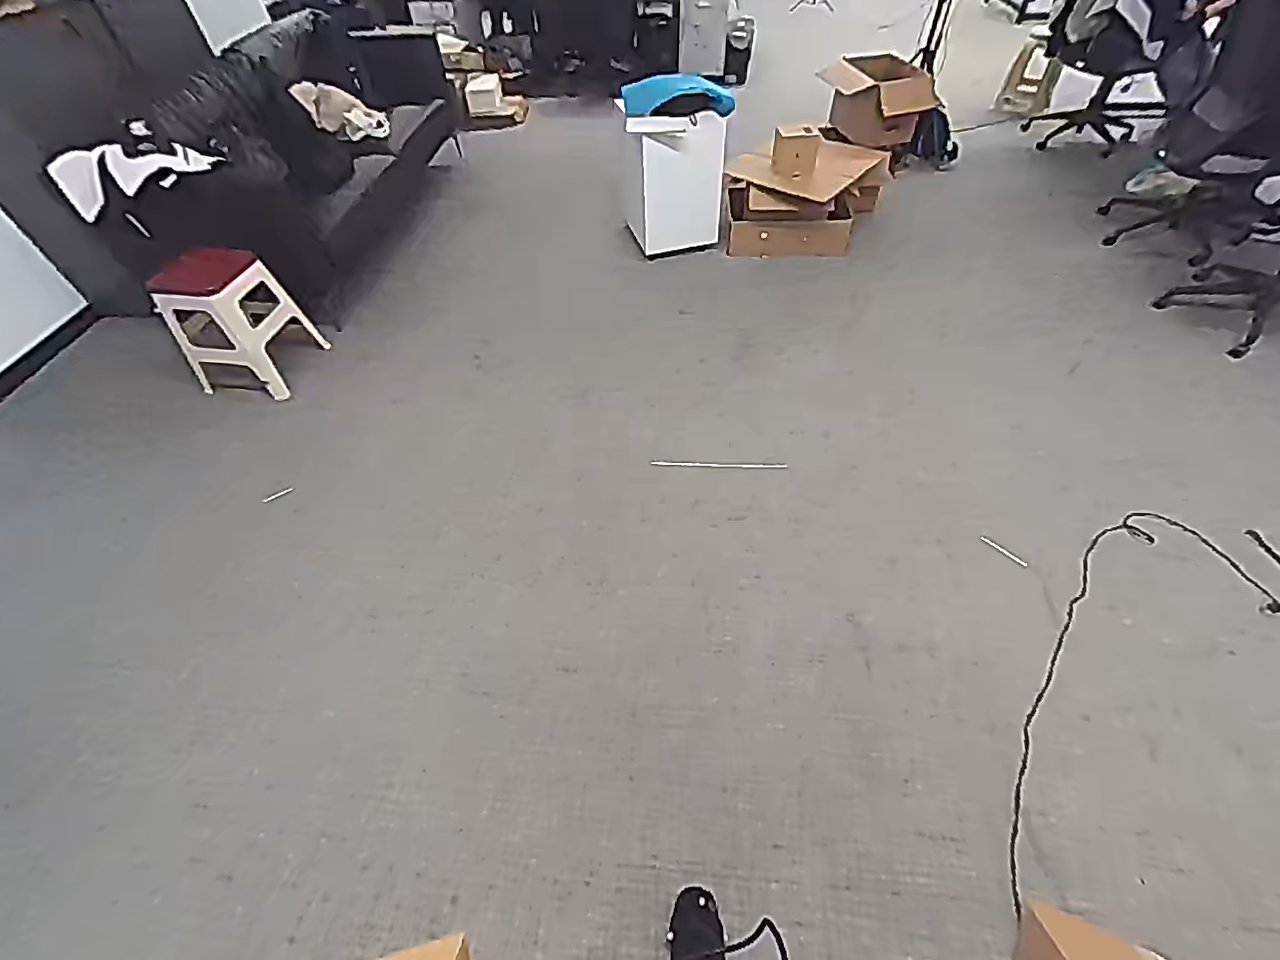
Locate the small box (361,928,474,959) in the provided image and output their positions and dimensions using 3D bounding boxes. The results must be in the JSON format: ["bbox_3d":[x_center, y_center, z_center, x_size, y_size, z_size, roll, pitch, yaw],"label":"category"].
[{"bbox_3d":[-0.280,0.670,0.609,0.168,0.179,0.176,-13,79,-8],"label":"small box"}]
